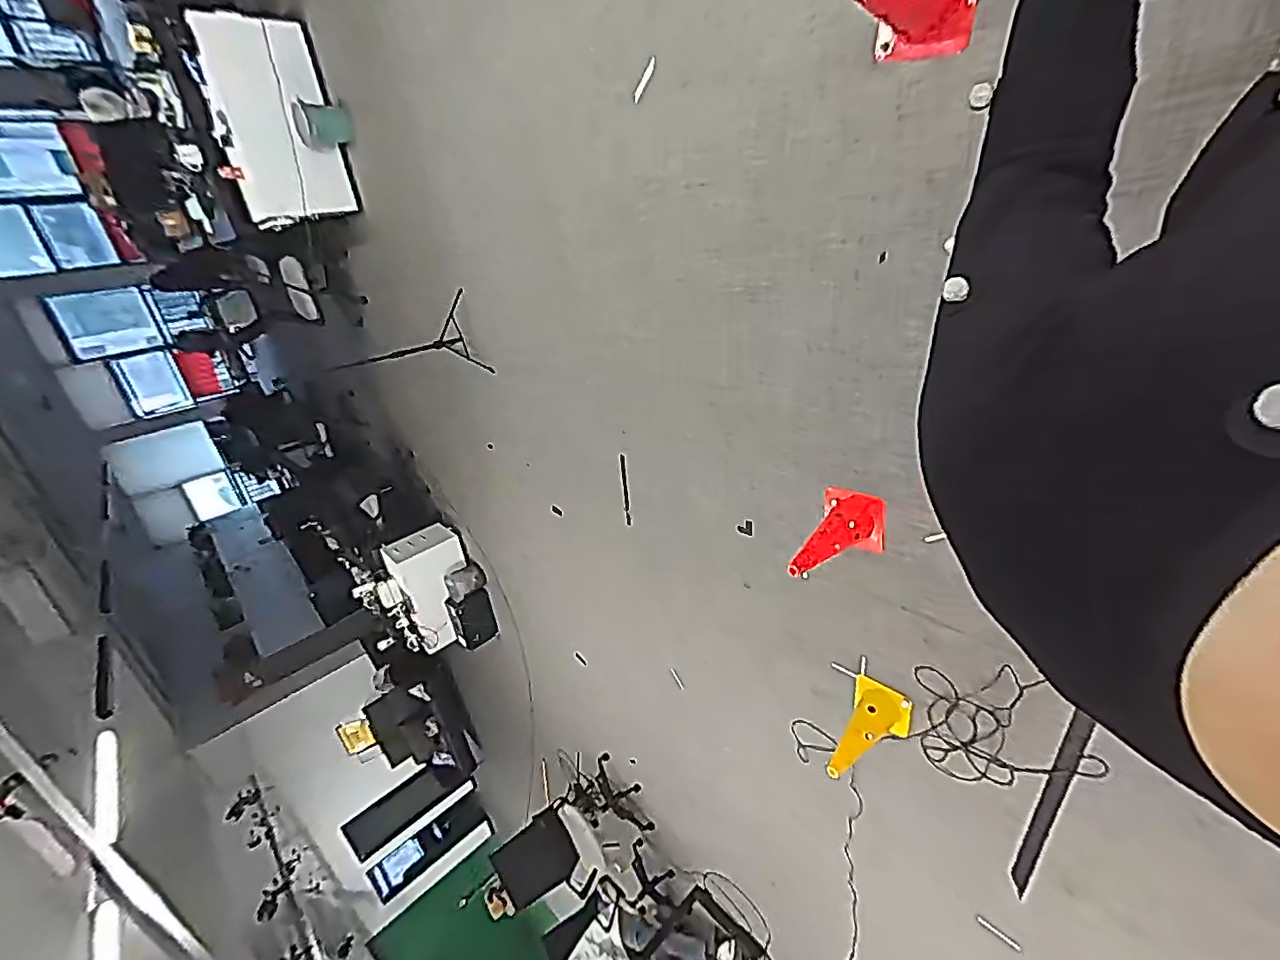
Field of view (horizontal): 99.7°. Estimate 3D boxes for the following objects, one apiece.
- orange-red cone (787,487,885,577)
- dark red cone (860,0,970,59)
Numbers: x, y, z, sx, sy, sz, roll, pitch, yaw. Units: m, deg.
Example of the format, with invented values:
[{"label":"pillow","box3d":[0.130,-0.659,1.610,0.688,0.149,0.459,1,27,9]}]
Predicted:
[{"label":"orange-red cone","box3d":[0.567,0.197,1.650,0.198,0.360,0.199,19,128,45]},{"label":"dark red cone","box3d":[0.459,-0.929,1.008,0.201,0.394,0.202,26,131,38]}]
